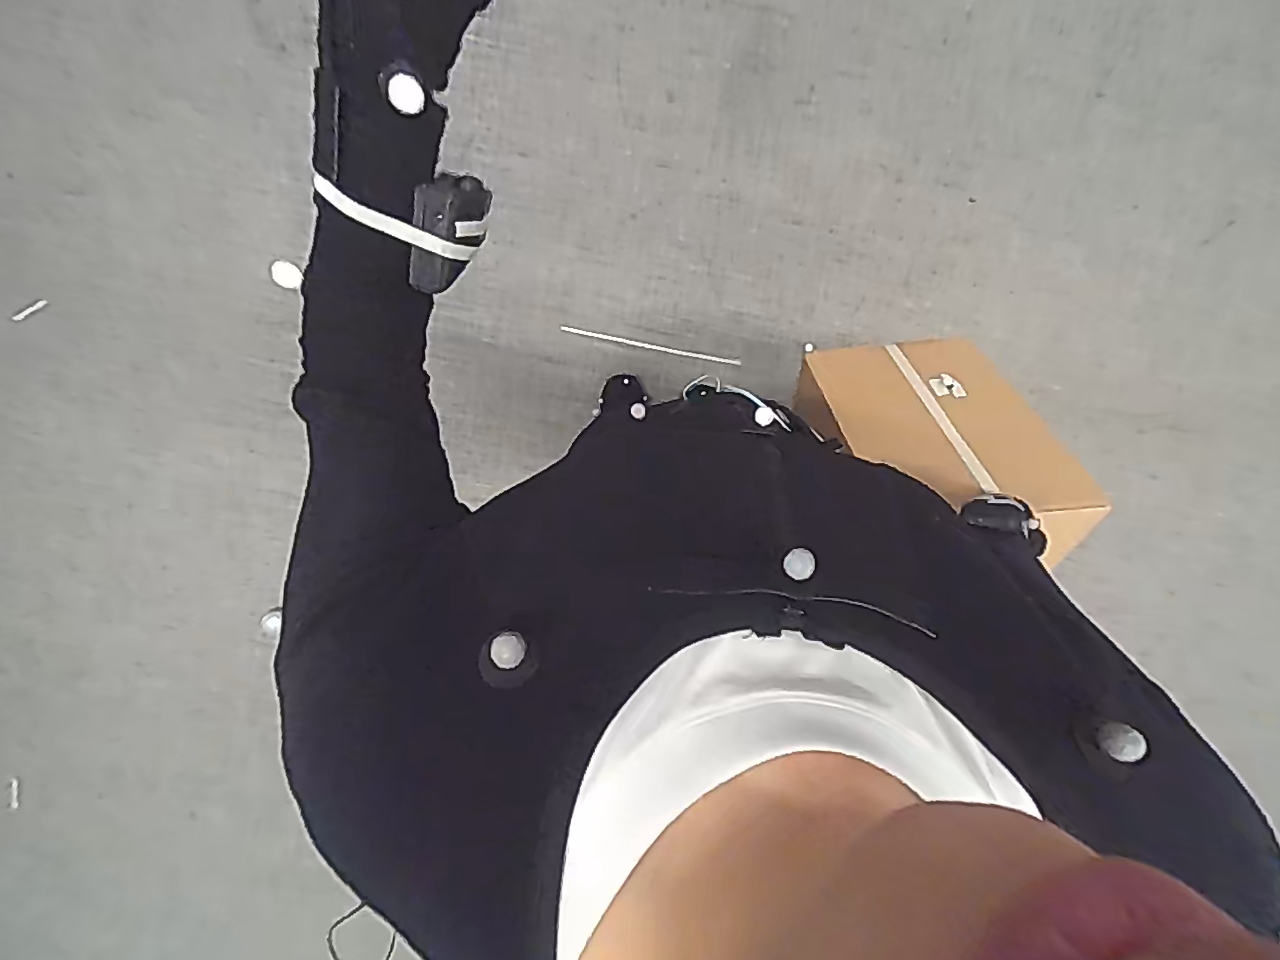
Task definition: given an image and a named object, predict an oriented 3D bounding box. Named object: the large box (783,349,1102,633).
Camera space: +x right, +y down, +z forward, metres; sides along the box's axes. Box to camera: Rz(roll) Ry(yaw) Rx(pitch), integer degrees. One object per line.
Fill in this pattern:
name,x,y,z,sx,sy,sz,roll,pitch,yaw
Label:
large box,0.479,0.013,0.982,0.320,0.408,0.320,-5,136,-2
